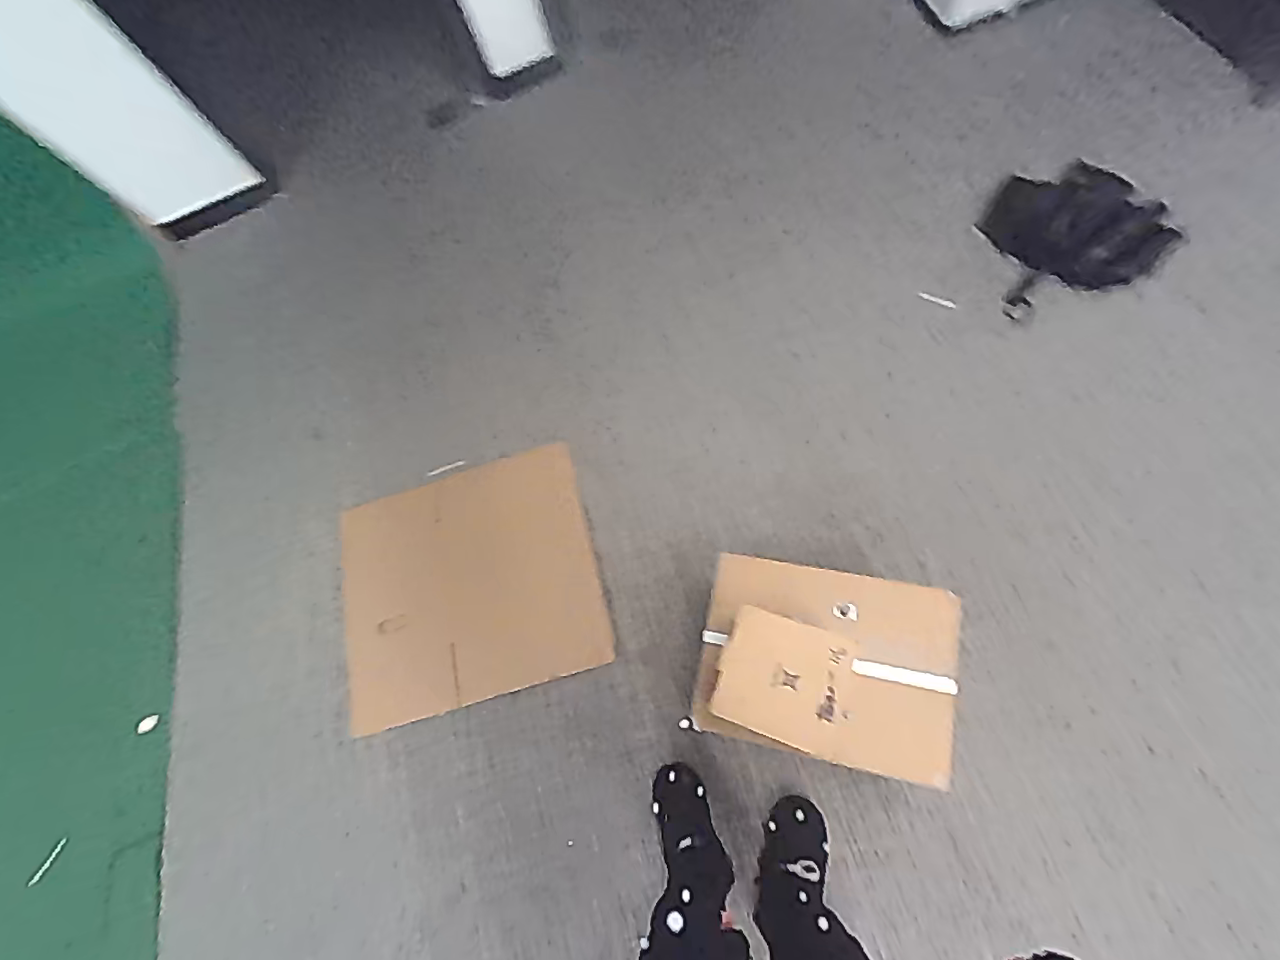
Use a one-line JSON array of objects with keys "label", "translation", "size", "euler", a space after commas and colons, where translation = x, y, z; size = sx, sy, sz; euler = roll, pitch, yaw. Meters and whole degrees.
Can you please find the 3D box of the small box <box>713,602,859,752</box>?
[{"label": "small box", "translation": [0.225, 0.307, 0.850], "size": [0.179, 0.176, 0.168], "euler": [14, 72, 16]}]
